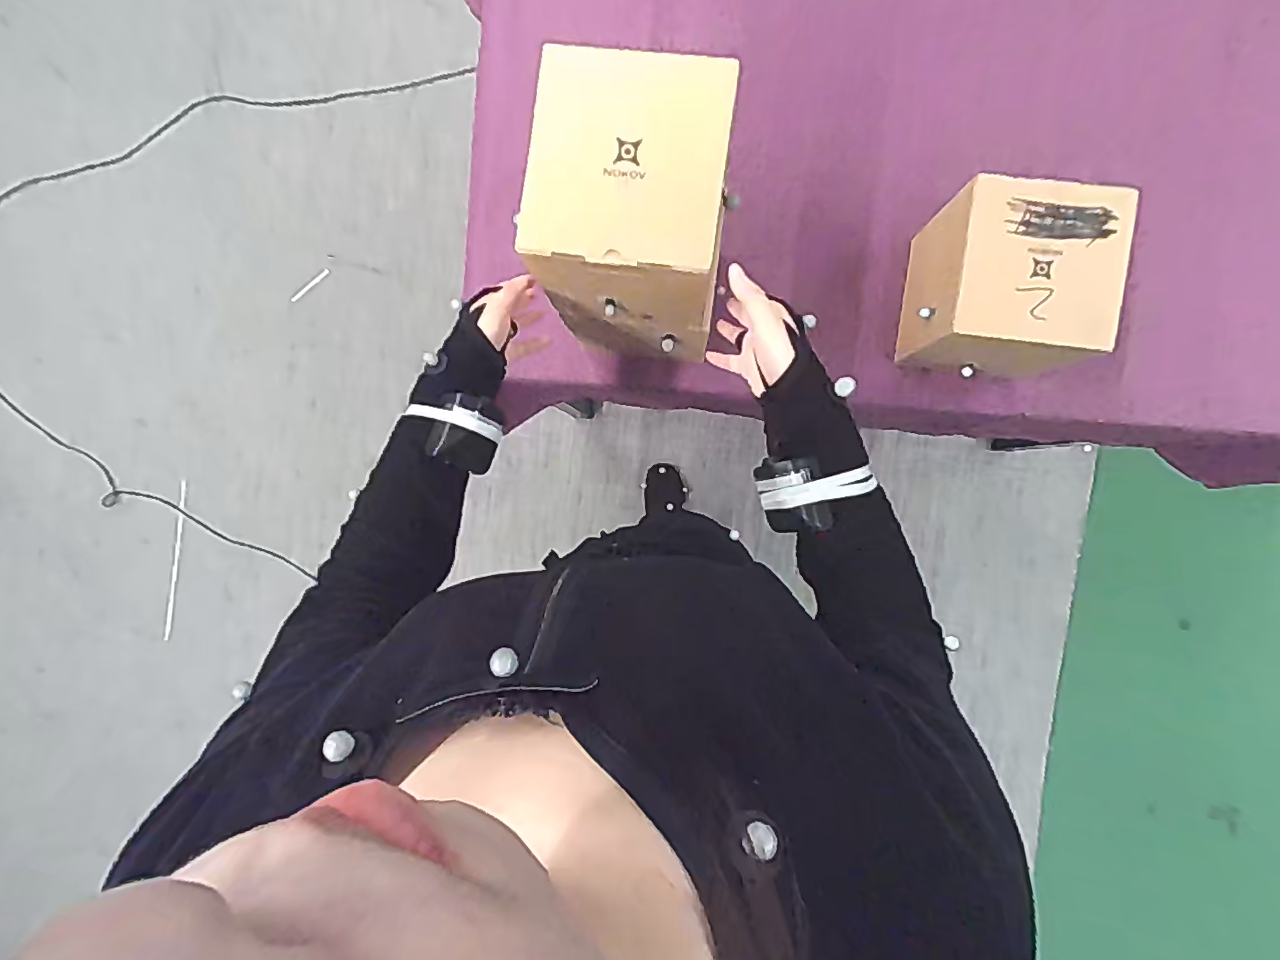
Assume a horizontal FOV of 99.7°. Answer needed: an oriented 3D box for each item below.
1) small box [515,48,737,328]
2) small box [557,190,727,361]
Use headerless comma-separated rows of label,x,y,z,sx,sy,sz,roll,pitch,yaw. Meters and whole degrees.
small box,-0.007,-0.264,0.527,0.168,0.176,0.179,8,92,5
small box,0.008,-0.254,0.689,0.179,0.176,0.168,8,90,5
